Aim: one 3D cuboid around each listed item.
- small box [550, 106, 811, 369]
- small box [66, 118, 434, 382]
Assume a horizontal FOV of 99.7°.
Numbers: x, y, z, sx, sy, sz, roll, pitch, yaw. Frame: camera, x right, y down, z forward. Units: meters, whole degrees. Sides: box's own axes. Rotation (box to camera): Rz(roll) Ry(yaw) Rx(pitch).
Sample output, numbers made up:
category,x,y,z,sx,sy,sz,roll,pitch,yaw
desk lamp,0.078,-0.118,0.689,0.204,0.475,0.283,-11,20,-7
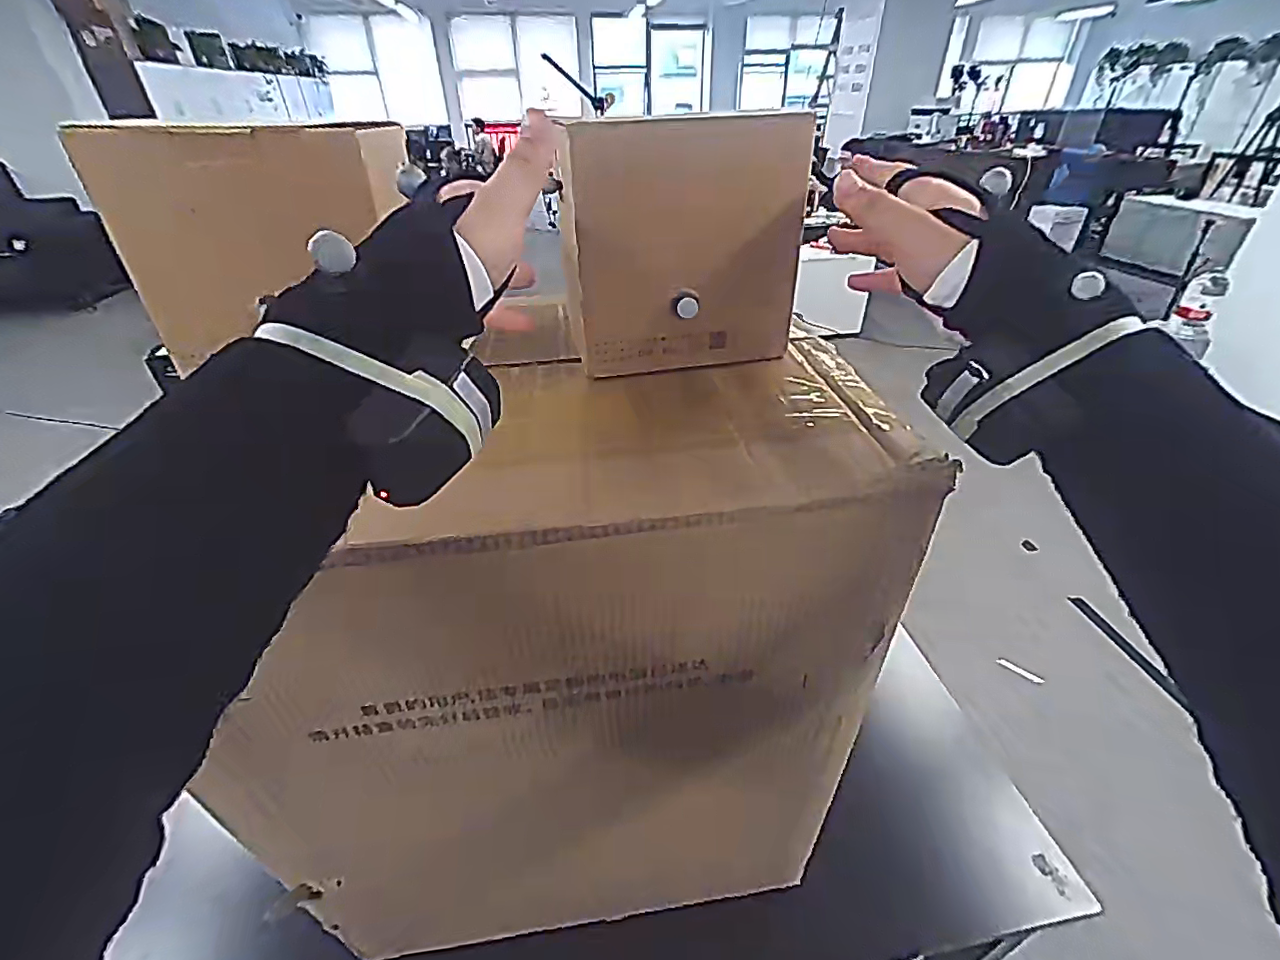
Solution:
category,x,y,z,sx,sy,sz,roll,pitch,yaw
small box,0.018,-0.205,0.451,0.168,0.176,0.179,-8,34,-8
small box,-0.276,-0.192,0.442,0.168,0.176,0.179,-7,34,-9
